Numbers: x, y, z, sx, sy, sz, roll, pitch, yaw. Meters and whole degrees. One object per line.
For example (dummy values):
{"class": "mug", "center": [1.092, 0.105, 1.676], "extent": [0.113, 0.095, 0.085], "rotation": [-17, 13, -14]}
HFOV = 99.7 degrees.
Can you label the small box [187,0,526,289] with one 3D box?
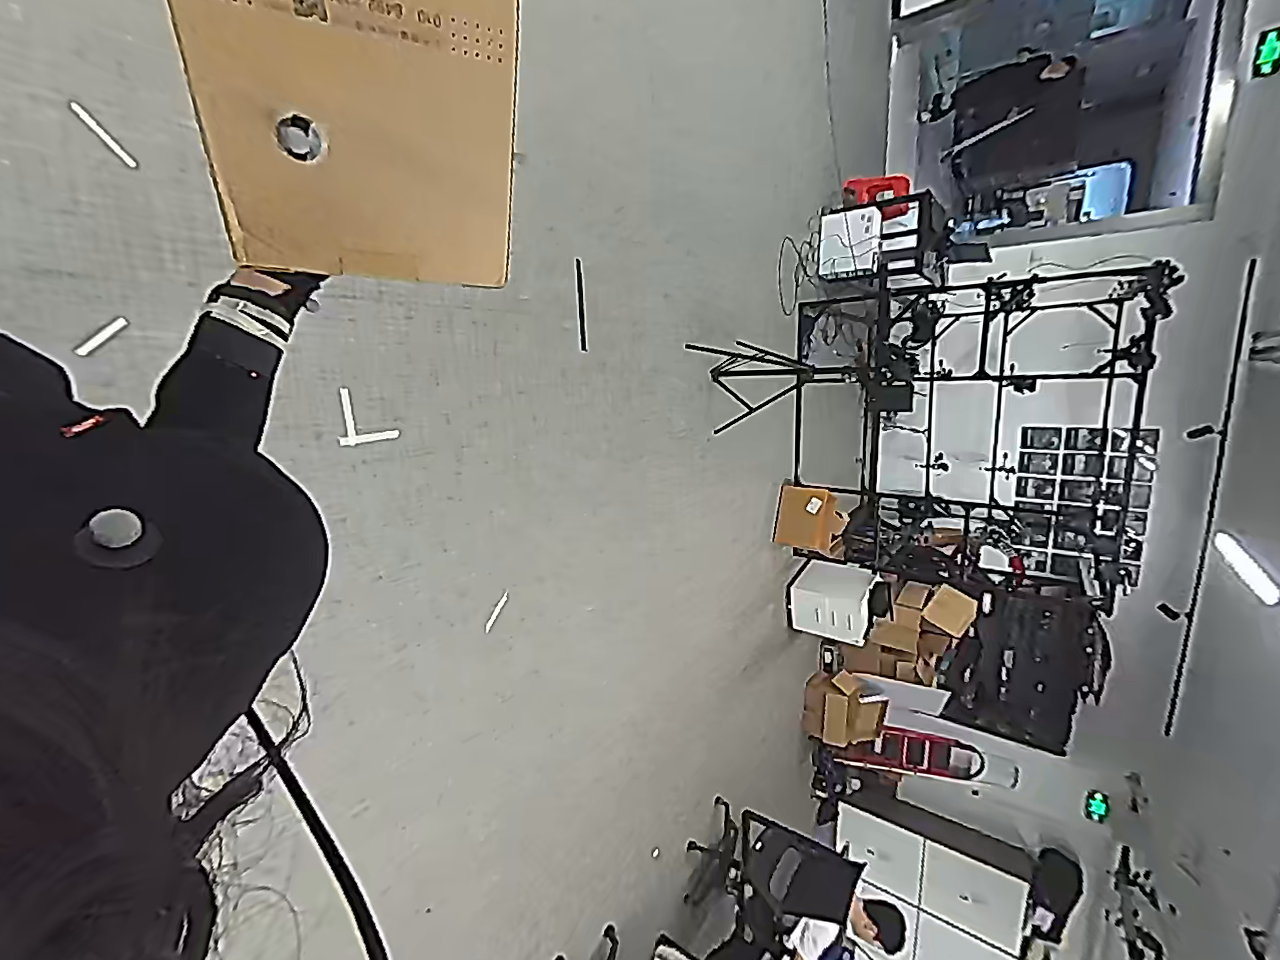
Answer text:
{"class": "small box", "center": [-0.175, -0.249, 0.367], "extent": [0.168, 0.179, 0.176], "rotation": [-1, 129, -22]}
